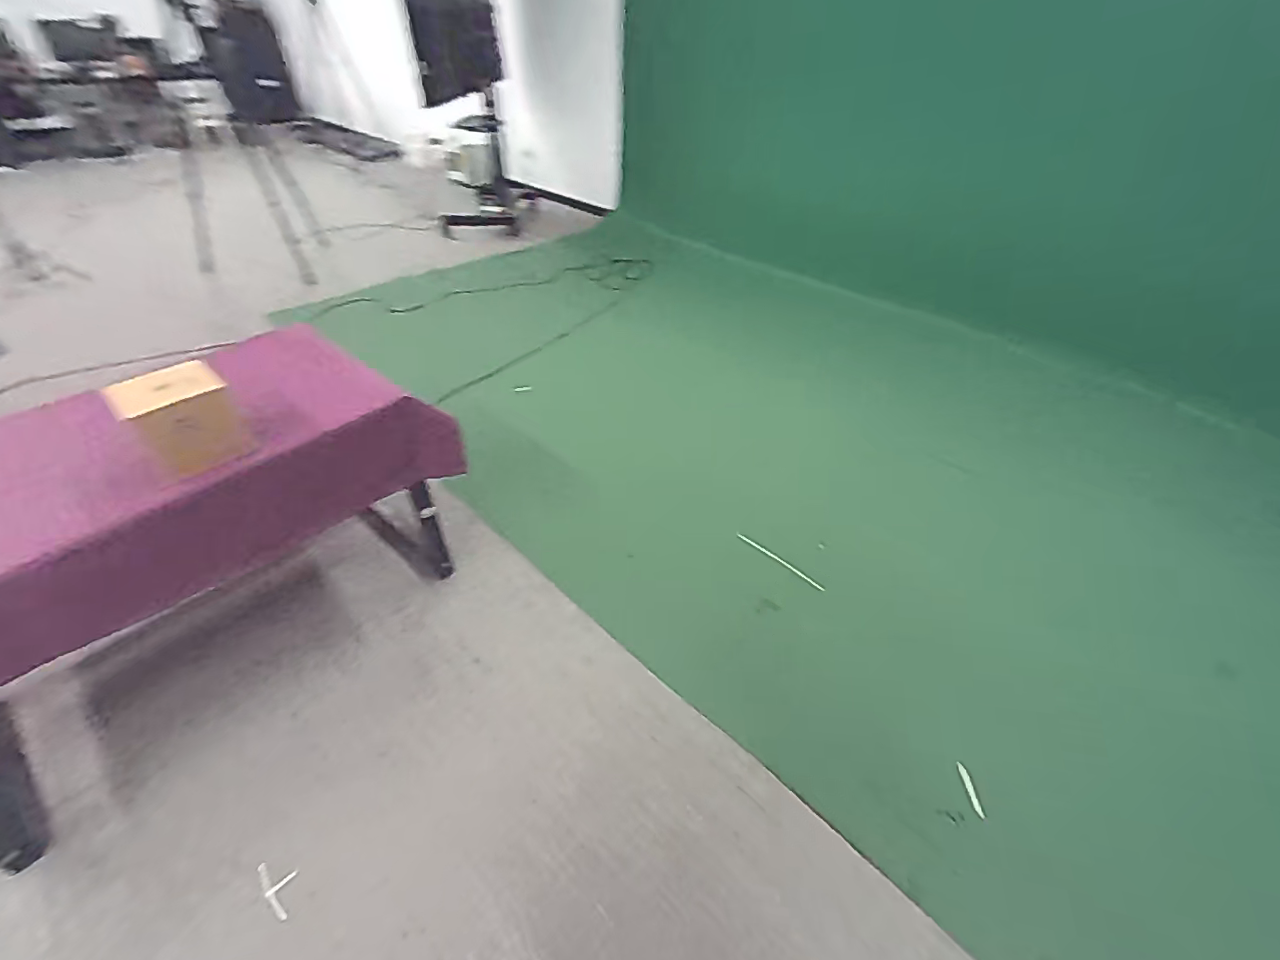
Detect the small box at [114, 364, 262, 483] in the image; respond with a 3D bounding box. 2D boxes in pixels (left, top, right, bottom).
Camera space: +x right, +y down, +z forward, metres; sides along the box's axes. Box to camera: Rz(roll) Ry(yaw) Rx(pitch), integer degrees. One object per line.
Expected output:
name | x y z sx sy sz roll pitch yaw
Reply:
small box | -0.976 -0.122 1.179 0.168 0.176 0.179 32 49 30
